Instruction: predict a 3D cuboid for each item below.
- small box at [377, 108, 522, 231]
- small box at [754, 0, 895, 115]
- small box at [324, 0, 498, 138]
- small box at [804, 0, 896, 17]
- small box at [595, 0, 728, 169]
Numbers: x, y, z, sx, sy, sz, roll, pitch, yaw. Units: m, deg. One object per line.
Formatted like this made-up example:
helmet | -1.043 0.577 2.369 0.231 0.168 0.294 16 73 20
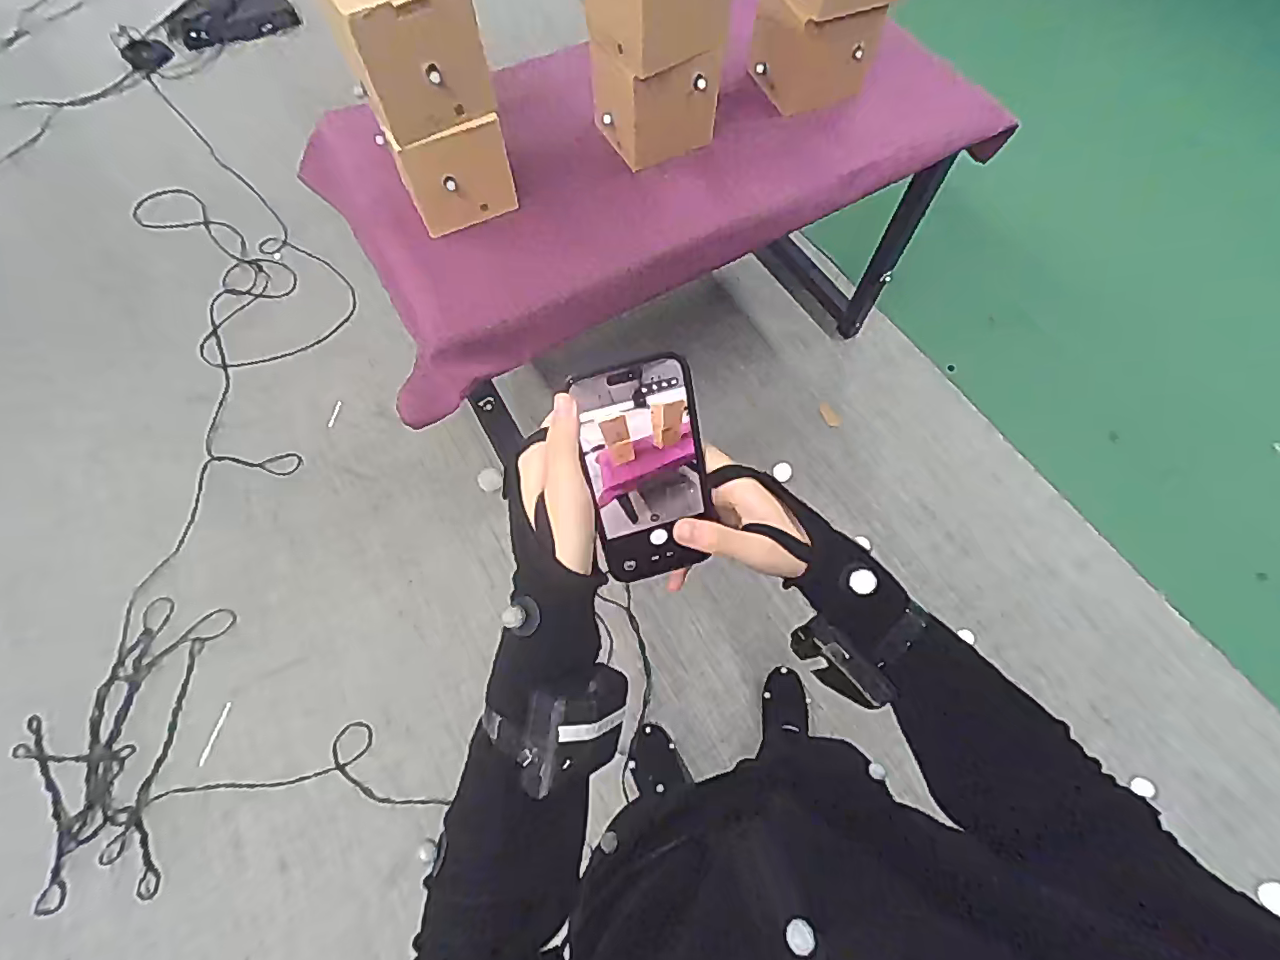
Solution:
small box | -0.320 -0.558 0.923 0.168 0.176 0.179 -26 69 -10
small box | 0.341 -0.849 1.039 0.179 0.176 0.168 -21 68 -8
small box | -0.326 -0.629 0.775 0.168 0.176 0.179 -31 70 -12
small box | 0.354 -0.906 0.886 0.179 0.176 0.168 -21 68 -9
small box | 0.034 -0.712 0.983 0.179 0.176 0.168 -26 69 -10
